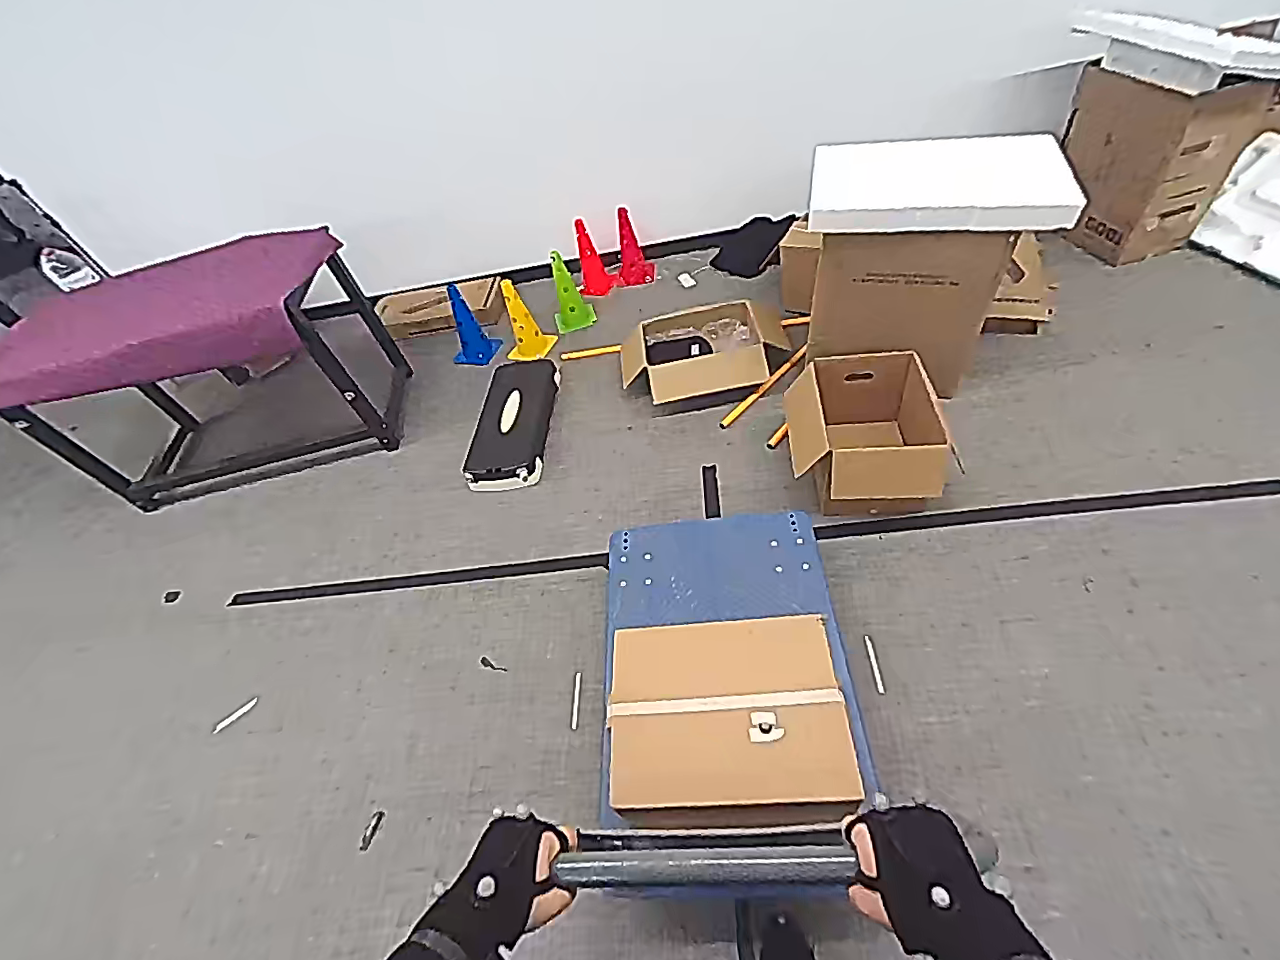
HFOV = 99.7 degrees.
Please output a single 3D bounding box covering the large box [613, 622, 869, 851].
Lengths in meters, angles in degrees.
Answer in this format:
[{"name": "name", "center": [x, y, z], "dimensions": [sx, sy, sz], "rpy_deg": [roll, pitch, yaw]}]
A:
[{"name": "large box", "center": [0.171, 0.500, 1.041], "dimensions": [0.408, 0.320, 0.320], "rpy_deg": [-6, 49, 7]}]
